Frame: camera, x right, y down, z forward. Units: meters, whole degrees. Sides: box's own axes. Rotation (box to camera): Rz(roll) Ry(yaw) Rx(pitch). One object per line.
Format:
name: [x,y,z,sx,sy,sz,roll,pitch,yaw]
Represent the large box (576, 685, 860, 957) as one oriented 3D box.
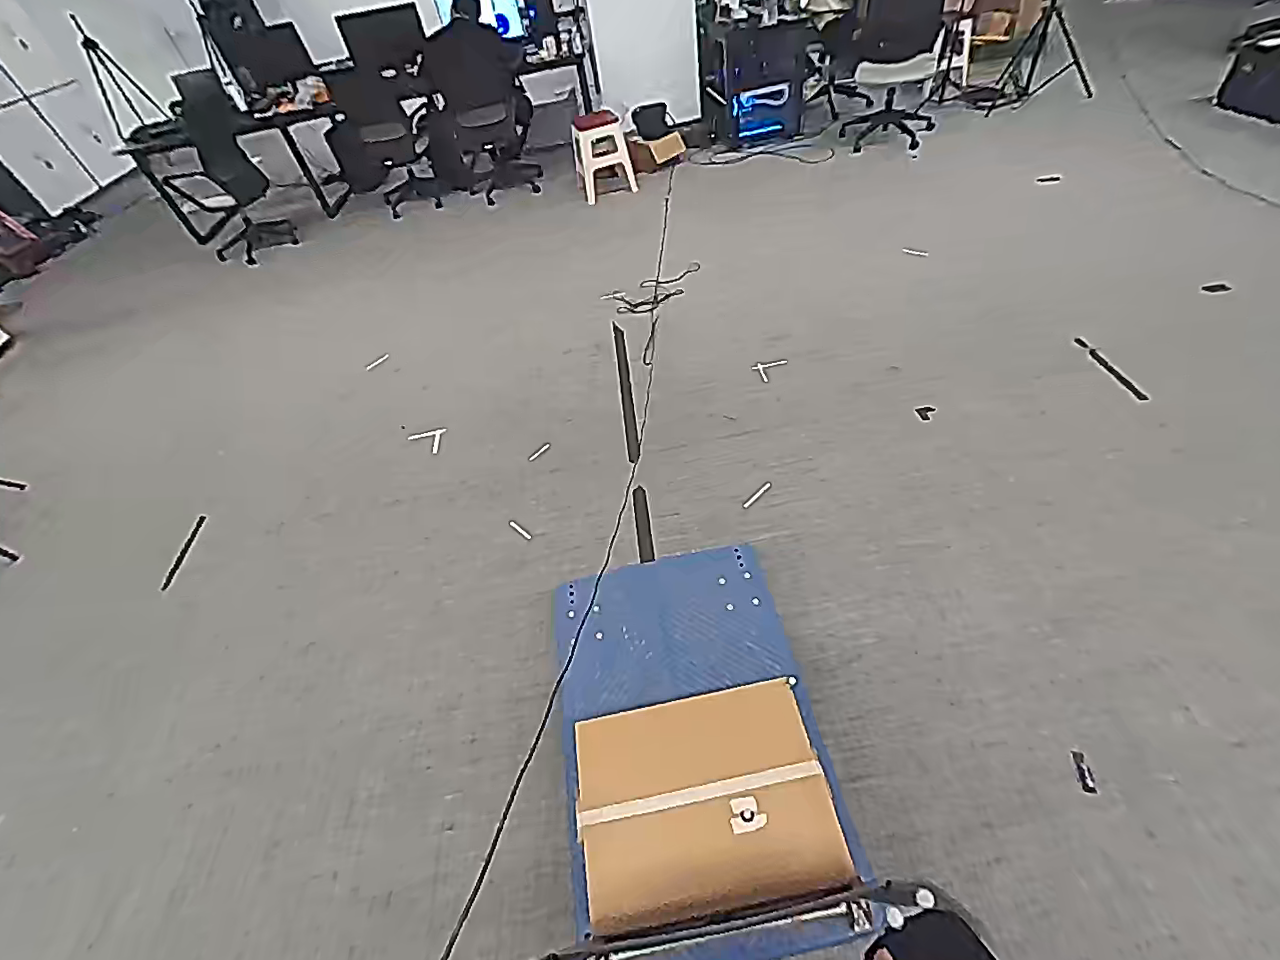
large box: [0.122,0.623,0.984,0.408,0.320,0.320,-12,48,-1]
